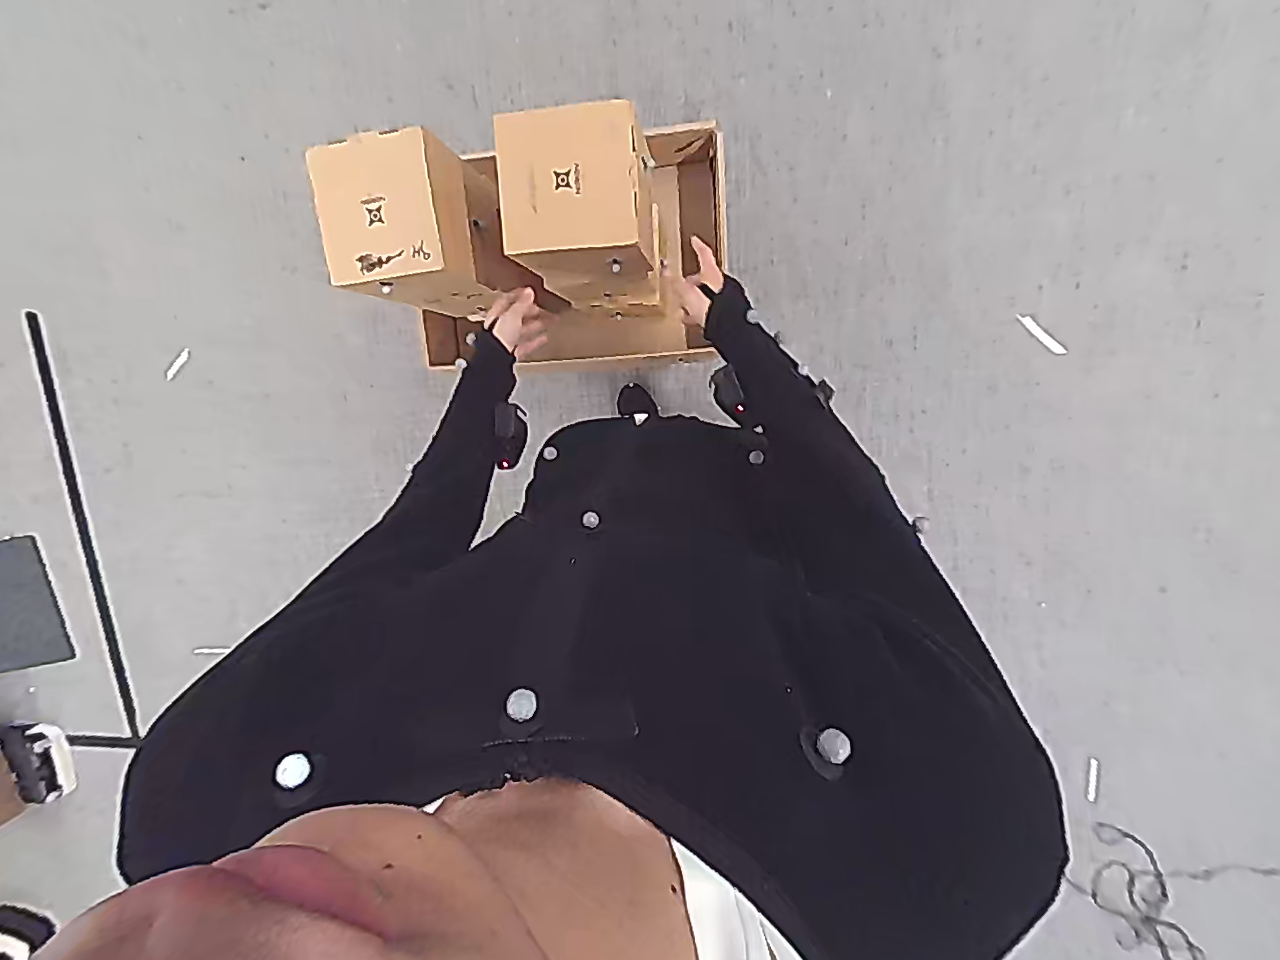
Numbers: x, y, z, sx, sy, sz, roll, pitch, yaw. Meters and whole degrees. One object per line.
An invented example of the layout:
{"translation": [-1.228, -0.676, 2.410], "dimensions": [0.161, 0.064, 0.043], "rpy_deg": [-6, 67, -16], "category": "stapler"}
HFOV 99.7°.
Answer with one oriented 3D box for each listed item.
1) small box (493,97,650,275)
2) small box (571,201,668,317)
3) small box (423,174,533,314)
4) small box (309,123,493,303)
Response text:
{"translation": [-0.080, -0.384, 0.737], "dimensions": [0.179, 0.176, 0.168], "rpy_deg": [0, 100, 10], "category": "small box"}
{"translation": [-0.036, -0.423, 1.059], "dimensions": [0.168, 0.176, 0.179], "rpy_deg": [0, 100, 9], "category": "small box"}
{"translation": [-0.296, -0.395, 0.933], "dimensions": [0.168, 0.176, 0.179], "rpy_deg": [-4, 100, 10], "category": "small box"}
{"translation": [-0.327, -0.365, 0.772], "dimensions": [0.168, 0.176, 0.179], "rpy_deg": [-4, 98, 11], "category": "small box"}
